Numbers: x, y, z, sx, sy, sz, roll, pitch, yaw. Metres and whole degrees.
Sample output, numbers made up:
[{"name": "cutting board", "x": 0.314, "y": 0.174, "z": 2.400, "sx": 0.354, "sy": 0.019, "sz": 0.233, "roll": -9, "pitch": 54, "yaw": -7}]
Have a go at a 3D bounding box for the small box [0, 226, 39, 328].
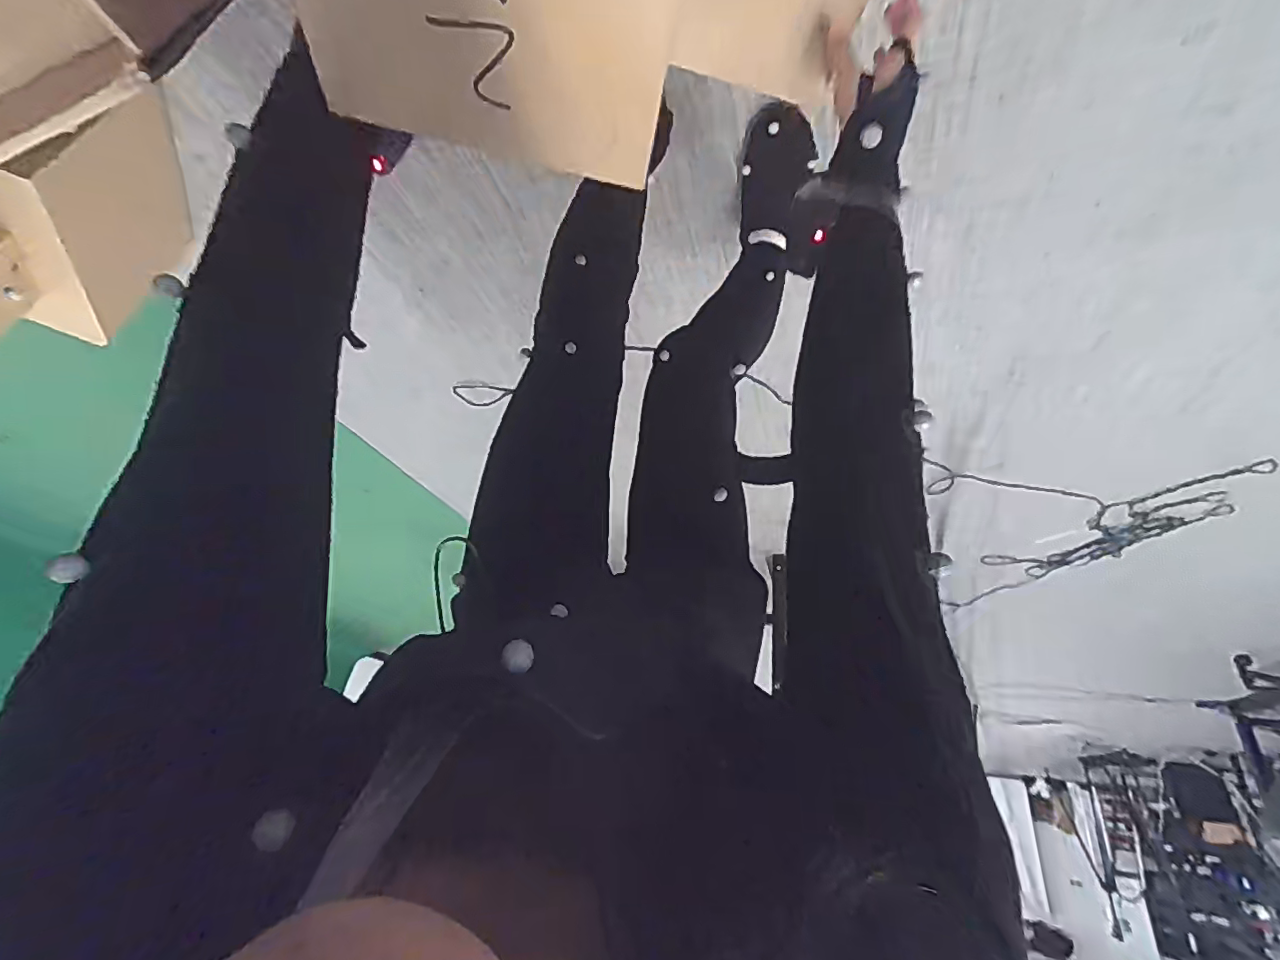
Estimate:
[{"name": "small box", "x": -1.057, "y": -0.307, "z": 0.785, "sx": 0.179, "sy": 0.176, "sz": 0.168, "roll": 24, "pitch": 147, "yaw": -26}]
